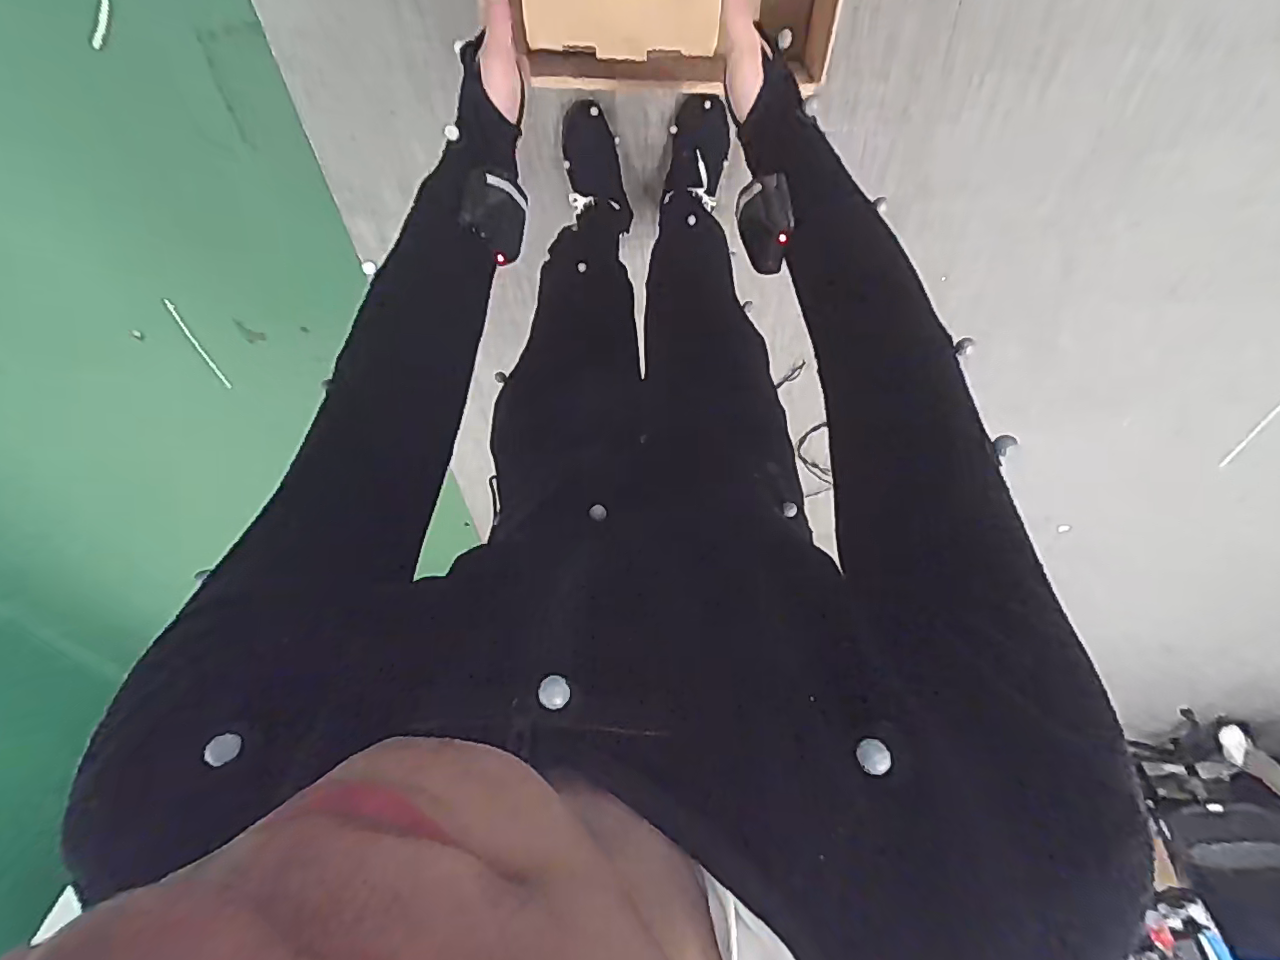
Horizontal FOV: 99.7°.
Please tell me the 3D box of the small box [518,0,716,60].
[{"bbox_3d":[-0.011,-0.482,0.454,0.168,0.176,0.179,4,137,2],"label":"small box"}]
